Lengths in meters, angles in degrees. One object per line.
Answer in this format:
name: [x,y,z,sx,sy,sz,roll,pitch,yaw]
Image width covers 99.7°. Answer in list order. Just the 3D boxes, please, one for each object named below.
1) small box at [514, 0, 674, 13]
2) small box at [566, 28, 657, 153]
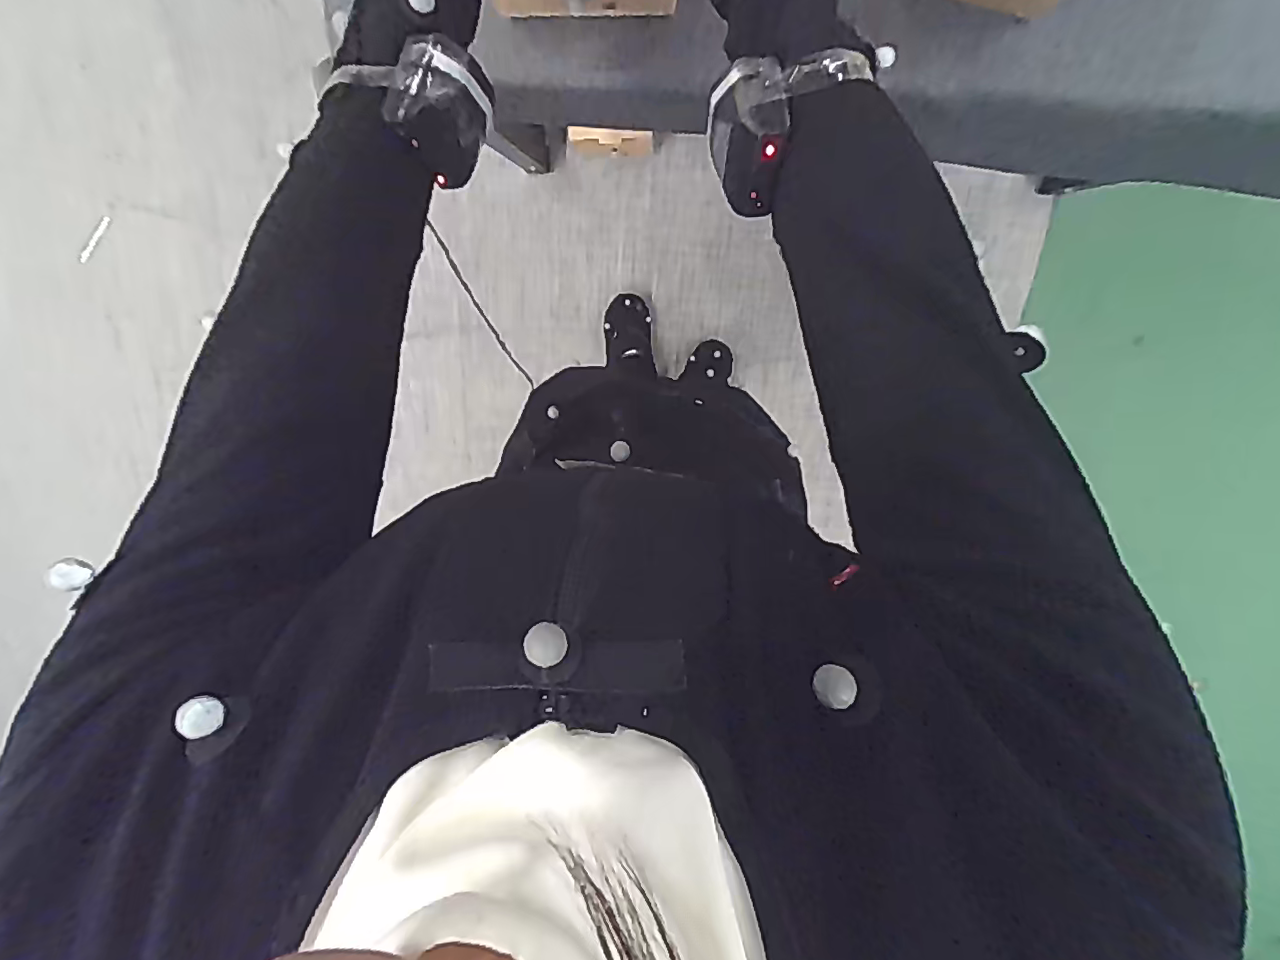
small box: [-0.046,-0.497,0.405,0.168,0.176,0.179,-1,110,0]
small box: [-0.051,-0.770,1.088,0.168,0.176,0.179,1,112,3]
